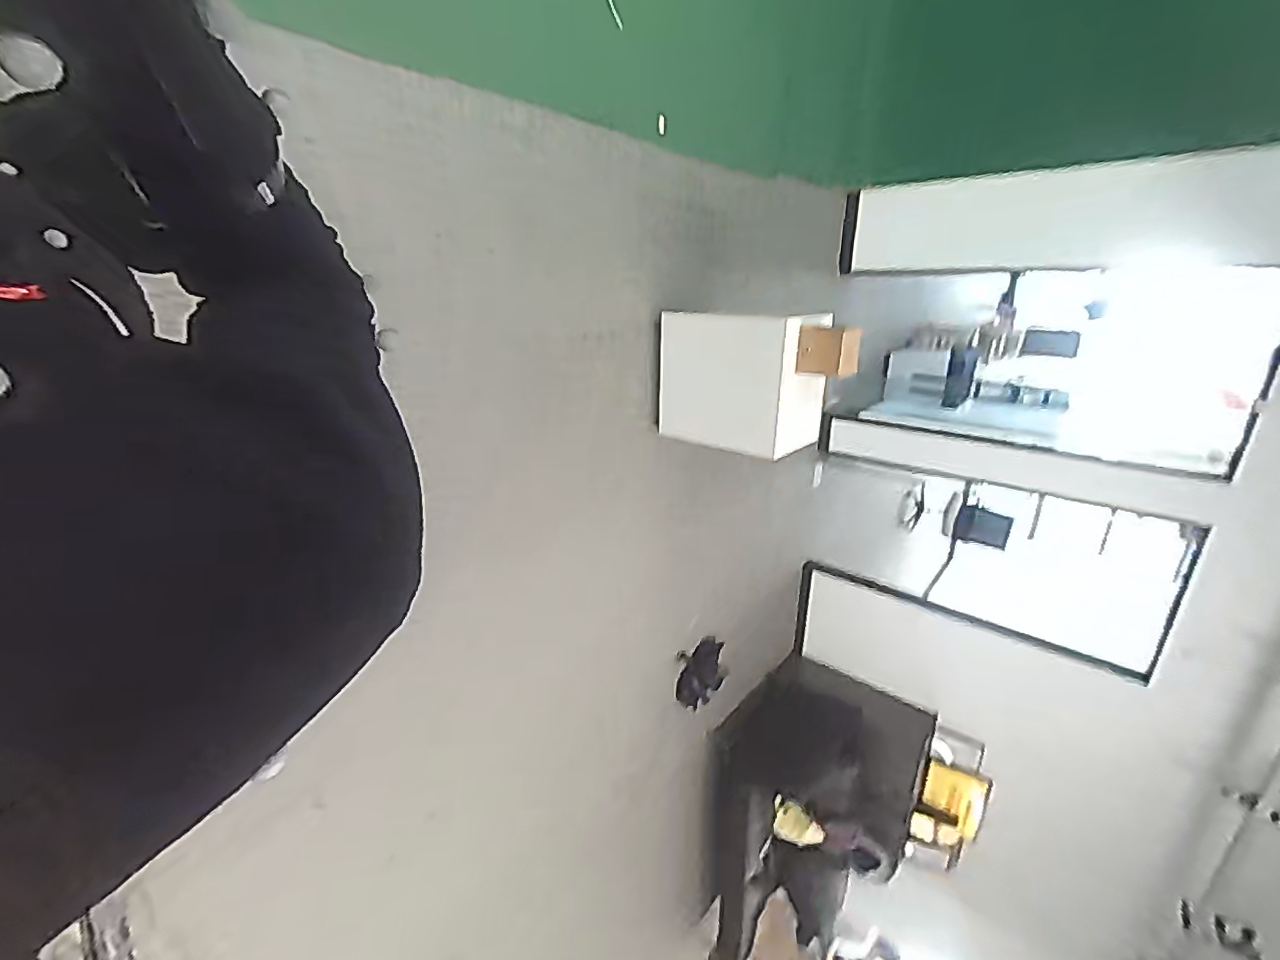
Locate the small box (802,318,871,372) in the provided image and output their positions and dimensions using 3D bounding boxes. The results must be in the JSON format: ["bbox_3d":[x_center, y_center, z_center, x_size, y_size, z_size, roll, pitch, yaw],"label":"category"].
[{"bbox_3d":[0.709,-0.494,1.955,0.179,0.176,0.168,-23,120,-42],"label":"small box"}]
